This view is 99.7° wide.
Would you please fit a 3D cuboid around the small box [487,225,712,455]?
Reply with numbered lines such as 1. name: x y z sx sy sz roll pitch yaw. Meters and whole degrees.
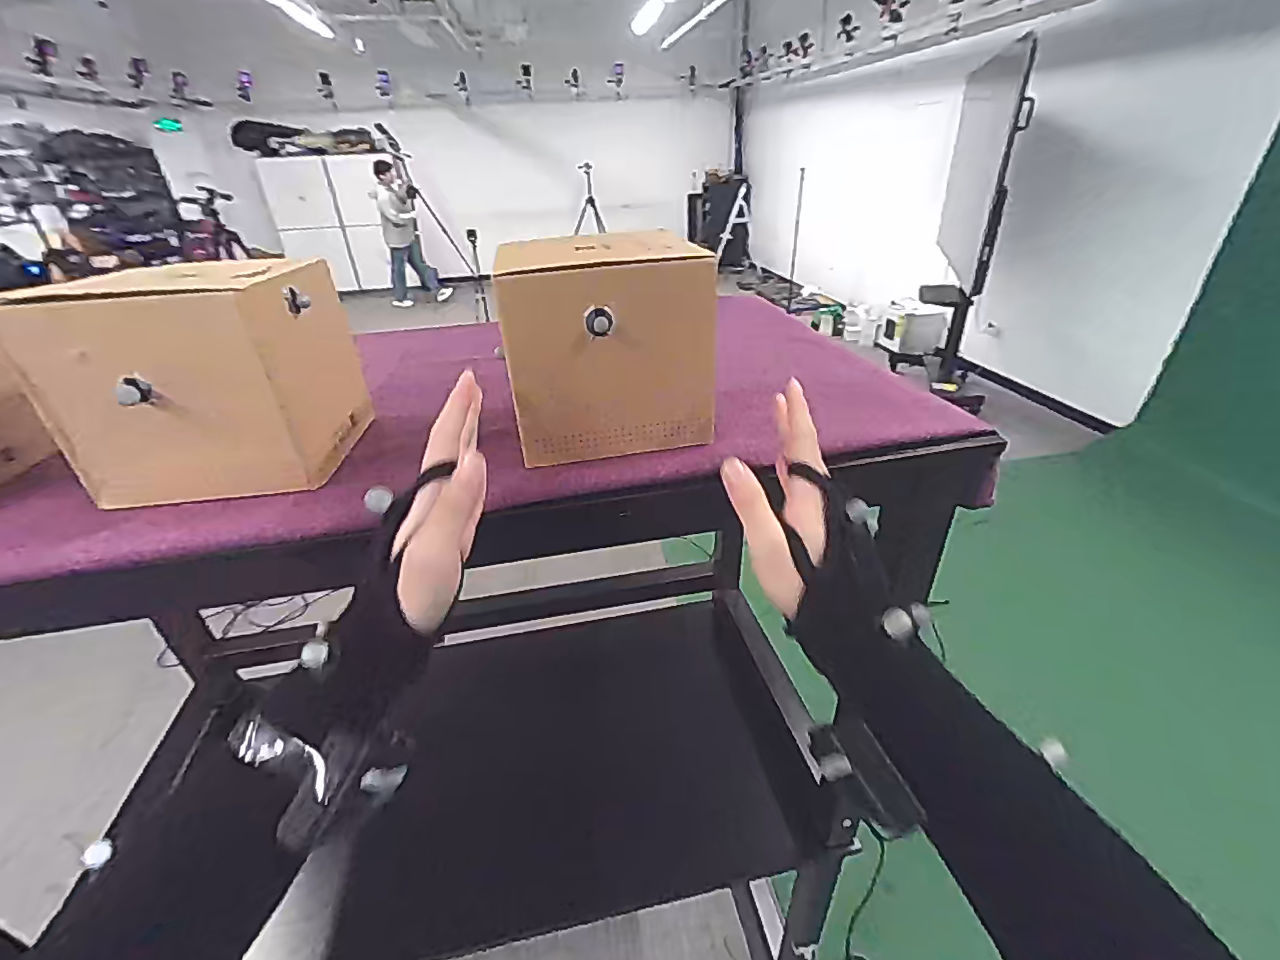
1. small box: -0.036 -0.135 0.512 0.179 0.176 0.168 -8 32 -7

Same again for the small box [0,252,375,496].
1. small box: -0.369 -0.097 0.480 0.179 0.176 0.168 -7 30 -5
